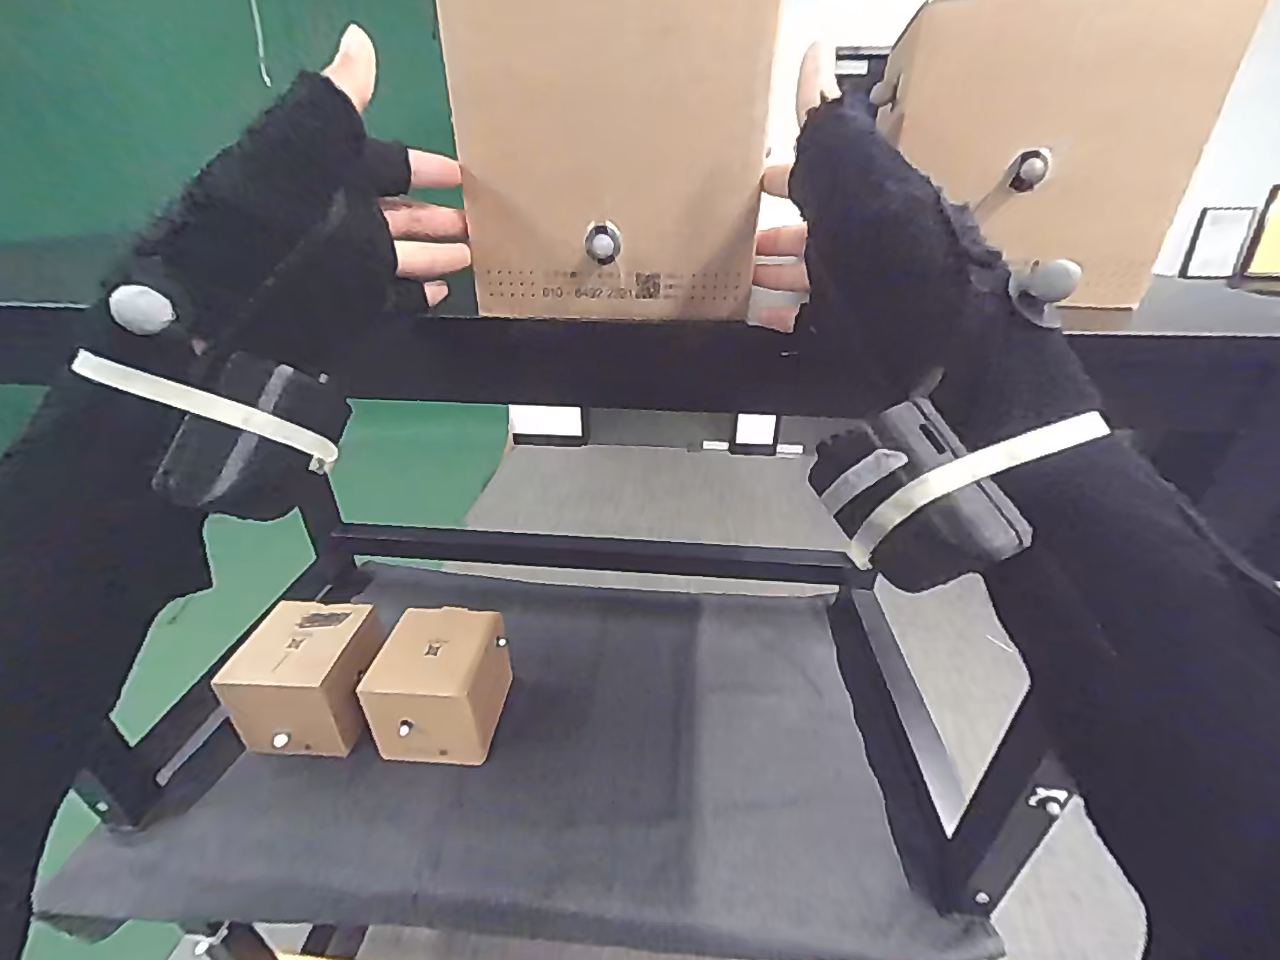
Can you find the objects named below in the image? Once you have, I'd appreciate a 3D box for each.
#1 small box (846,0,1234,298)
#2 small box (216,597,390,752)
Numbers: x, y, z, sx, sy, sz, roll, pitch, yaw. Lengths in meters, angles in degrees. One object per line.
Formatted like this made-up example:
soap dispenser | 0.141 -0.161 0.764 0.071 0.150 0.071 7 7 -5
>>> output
small box | 0.254 -0.236 0.396 0.168 0.176 0.179 8 30 14
small box | -0.540 0.319 0.901 0.168 0.176 0.179 2 30 3
